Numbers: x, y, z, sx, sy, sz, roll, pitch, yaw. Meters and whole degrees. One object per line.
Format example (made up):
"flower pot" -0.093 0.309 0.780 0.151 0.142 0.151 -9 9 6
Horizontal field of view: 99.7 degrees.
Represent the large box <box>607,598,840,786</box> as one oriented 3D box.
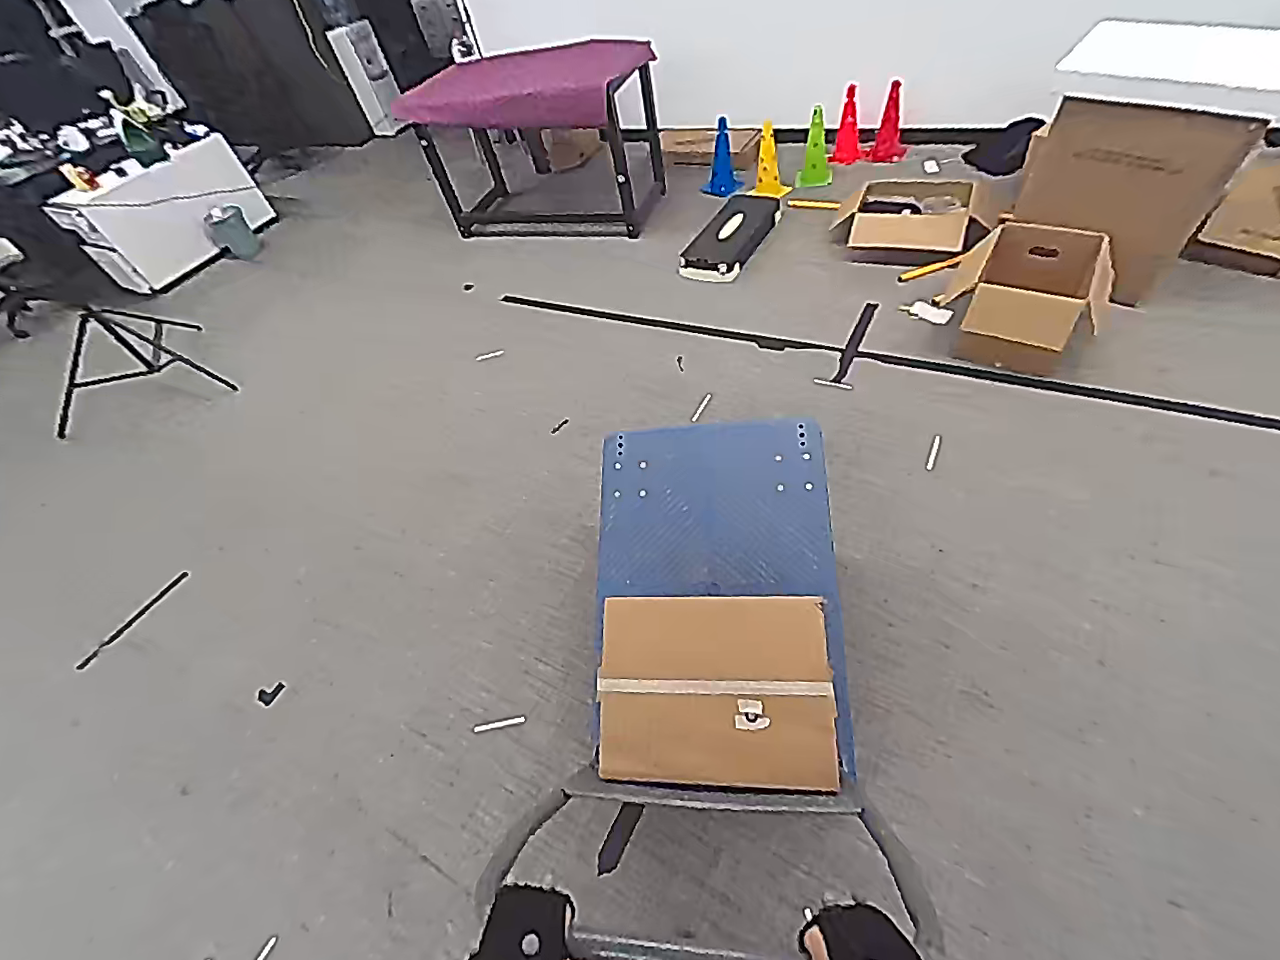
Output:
"large box" 0.157 0.425 1.108 0.408 0.320 0.320 -3 70 9
